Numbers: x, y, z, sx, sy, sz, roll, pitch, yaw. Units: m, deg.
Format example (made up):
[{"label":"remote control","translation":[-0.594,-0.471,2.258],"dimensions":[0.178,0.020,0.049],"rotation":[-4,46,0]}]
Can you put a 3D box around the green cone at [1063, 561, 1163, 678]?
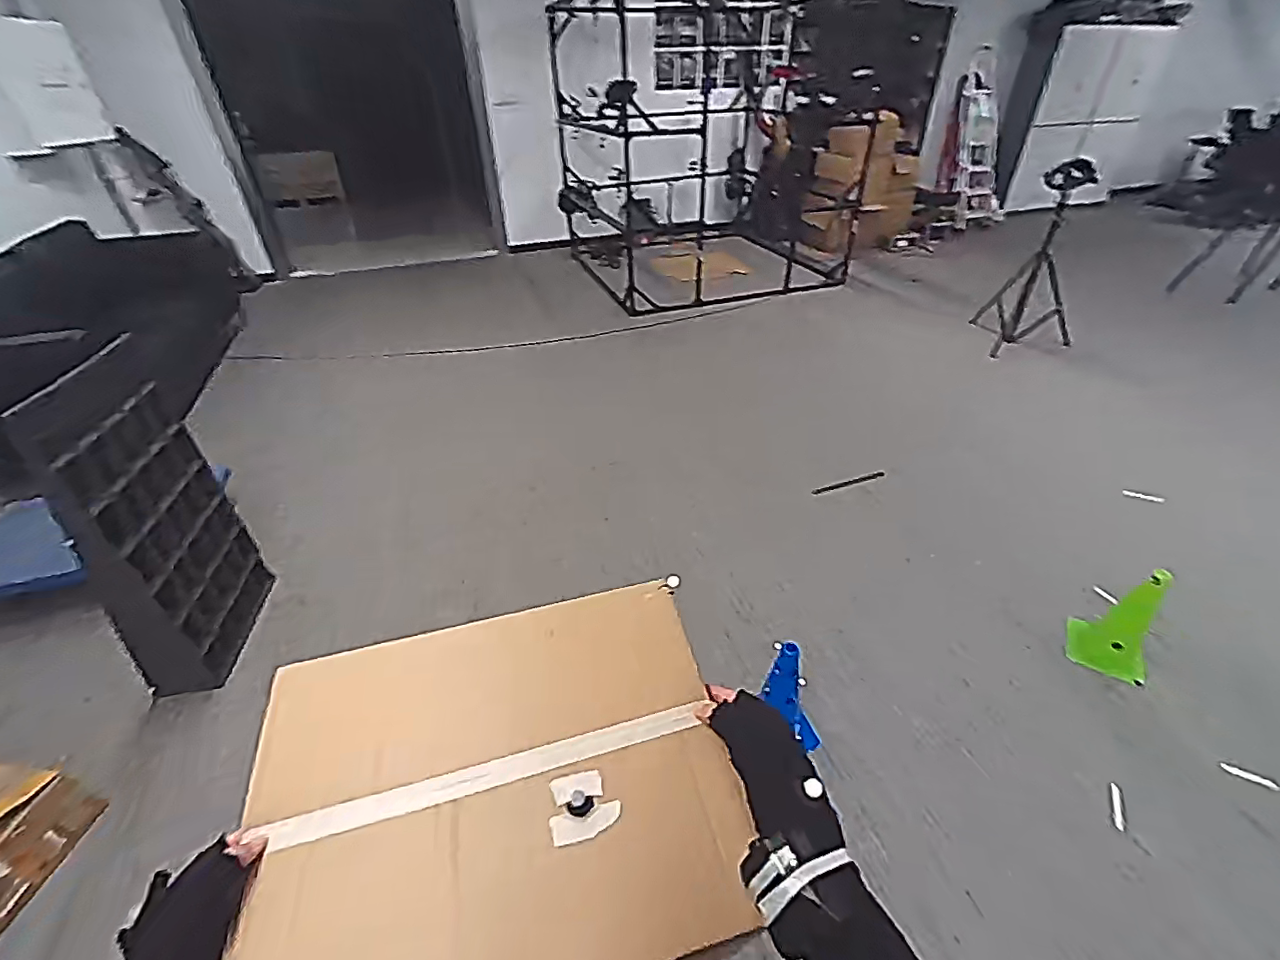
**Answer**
[{"label":"green cone","translation":[1.481,0.388,1.645],"dimensions":[0.202,0.368,0.200],"rotation":[19,41,28]}]

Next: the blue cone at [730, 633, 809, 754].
[{"label":"blue cone","translation":[0.374,0.562,1.487],"dimensions":[0.193,0.380,0.192],"rotation":[-11,36,-12]}]

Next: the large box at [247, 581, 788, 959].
[{"label":"large box","translation":[-0.113,0.360,0.585],"dimensions":[0.408,0.320,0.320],"rotation":[-10,46,-10]}]
